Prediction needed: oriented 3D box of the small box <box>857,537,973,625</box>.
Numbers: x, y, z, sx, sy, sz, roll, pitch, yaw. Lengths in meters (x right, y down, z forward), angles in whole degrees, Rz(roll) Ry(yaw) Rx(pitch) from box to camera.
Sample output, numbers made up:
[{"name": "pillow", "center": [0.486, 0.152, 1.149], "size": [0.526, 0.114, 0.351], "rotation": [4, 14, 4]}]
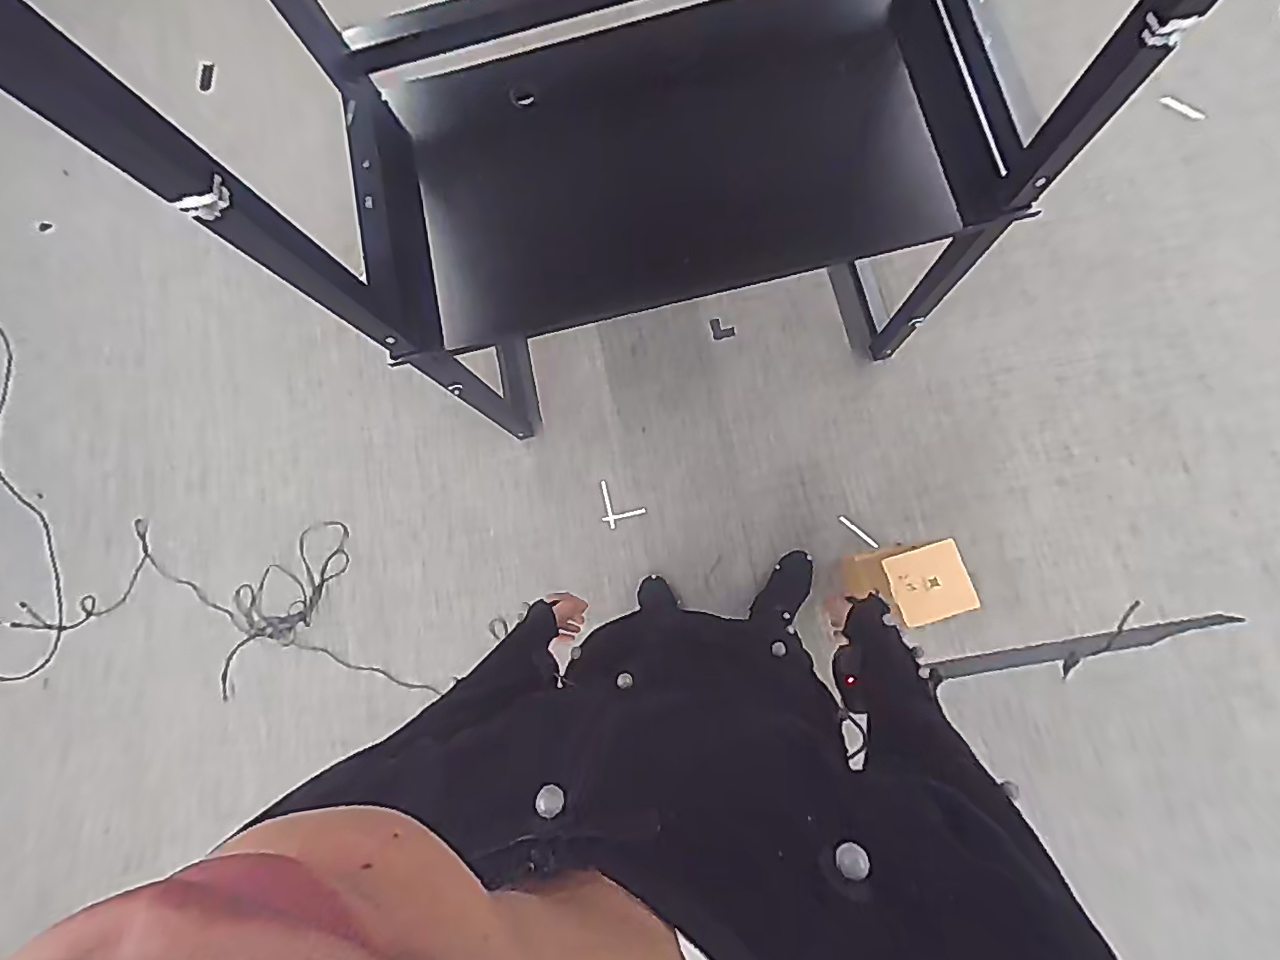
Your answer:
[{"name": "small box", "center": [0.663, 0.242, 1.326], "size": [0.179, 0.176, 0.168], "rotation": [-18, 81, 3]}]
